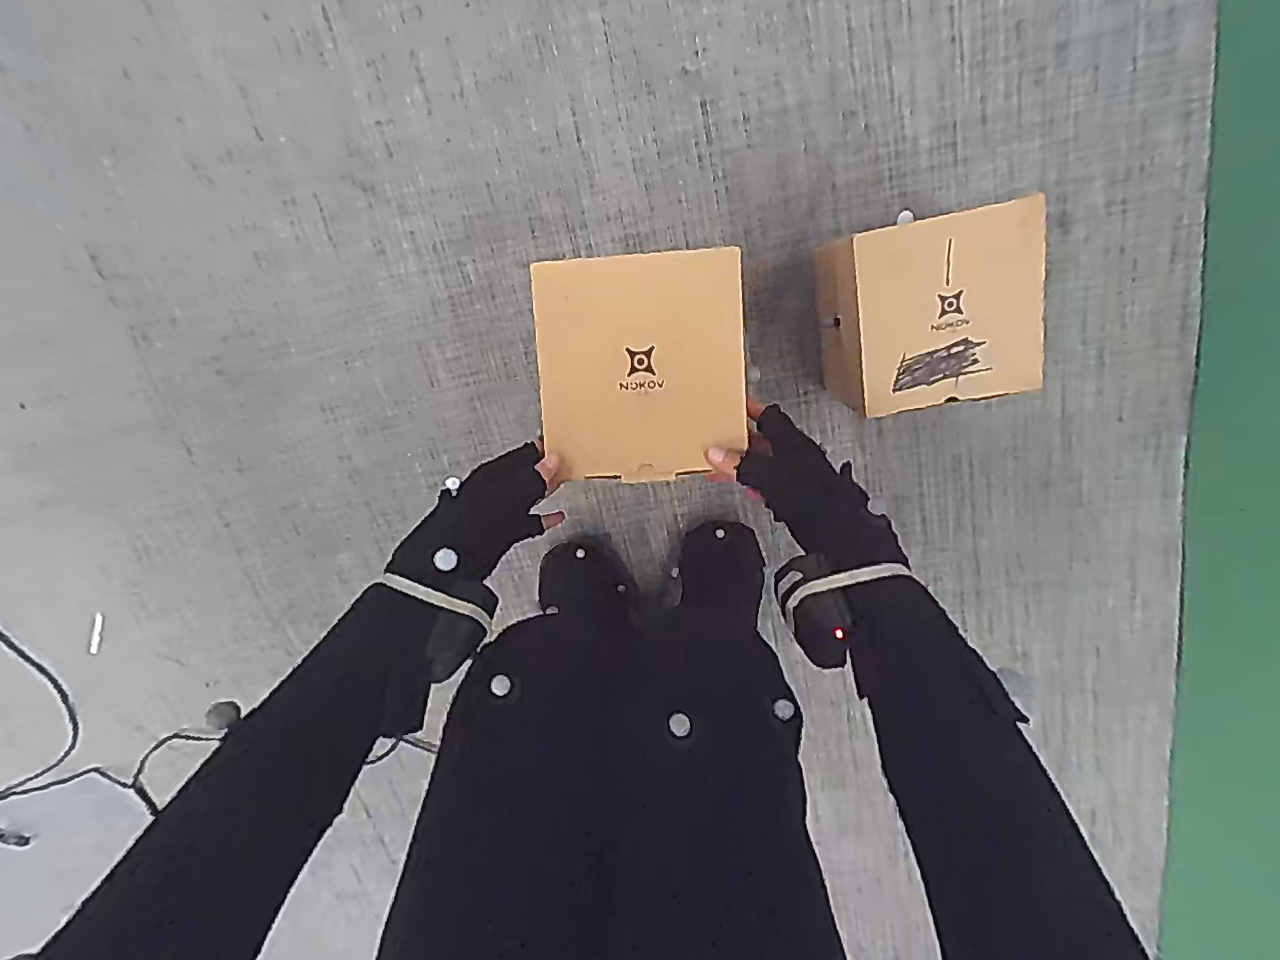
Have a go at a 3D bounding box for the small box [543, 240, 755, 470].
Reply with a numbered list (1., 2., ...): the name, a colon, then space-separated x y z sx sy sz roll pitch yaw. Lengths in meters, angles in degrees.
1. small box: 0.010 -0.106 0.510 0.168 0.176 0.179 -3 97 3

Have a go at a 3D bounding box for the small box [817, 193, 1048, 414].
1. small box: 0.296 -0.183 0.580 0.168 0.176 0.179 -9 107 8
